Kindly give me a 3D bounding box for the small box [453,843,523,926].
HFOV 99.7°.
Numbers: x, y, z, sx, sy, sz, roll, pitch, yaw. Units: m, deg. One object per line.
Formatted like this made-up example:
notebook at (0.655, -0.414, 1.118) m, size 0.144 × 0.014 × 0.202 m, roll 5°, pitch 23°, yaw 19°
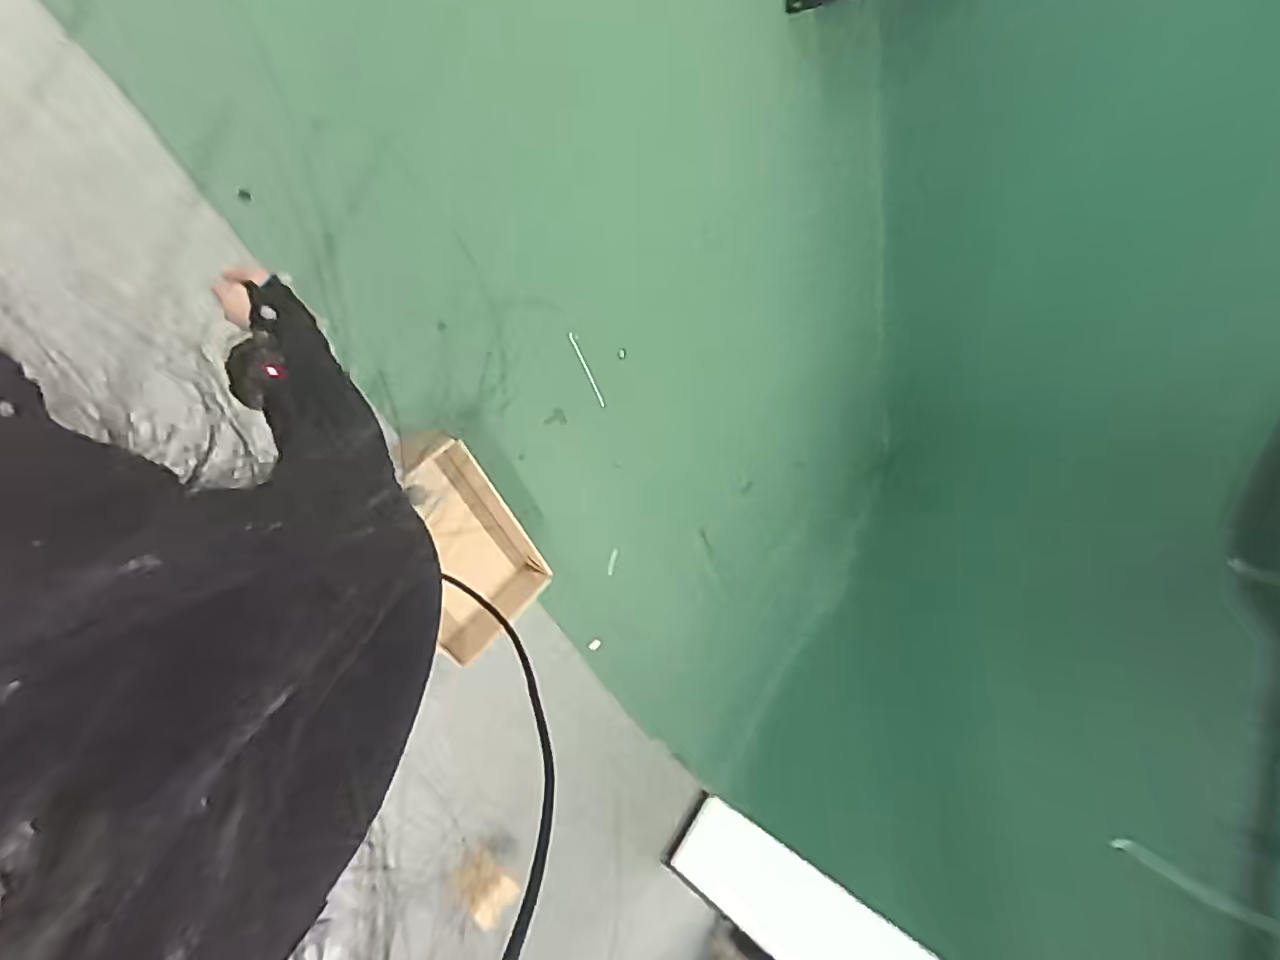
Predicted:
small box at (-0.587, 1.544, 2.078) m, size 0.168 × 0.176 × 0.179 m, roll -39°, pitch 130°, yaw -33°
